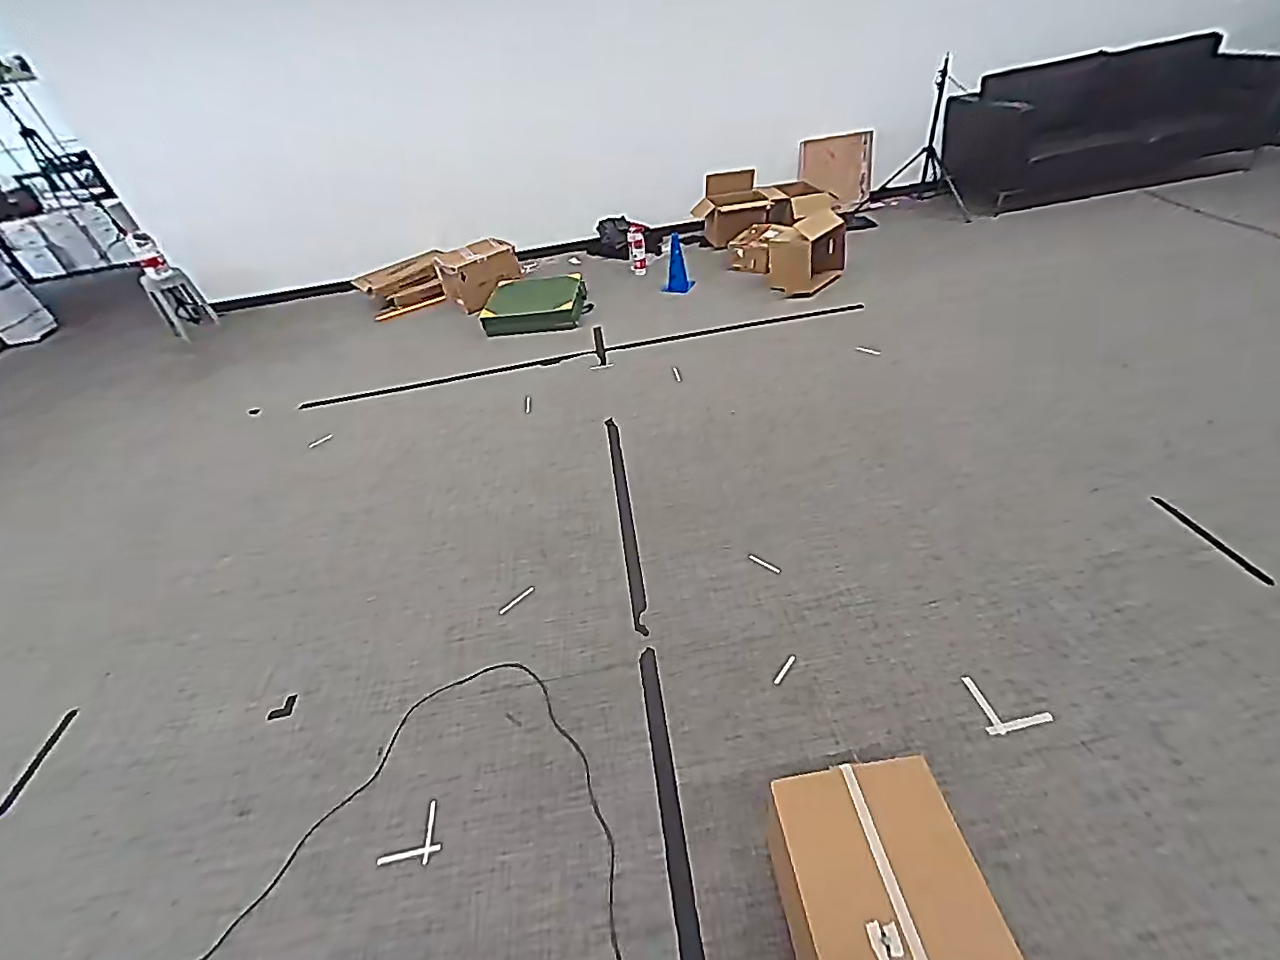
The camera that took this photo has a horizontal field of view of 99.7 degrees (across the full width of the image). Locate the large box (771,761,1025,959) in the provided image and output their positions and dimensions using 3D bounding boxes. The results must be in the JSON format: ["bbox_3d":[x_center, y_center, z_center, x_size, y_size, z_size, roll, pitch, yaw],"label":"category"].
[{"bbox_3d":[0.458,0.818,1.020,0.320,0.320,0.408,-10,41,1],"label":"large box"}]
